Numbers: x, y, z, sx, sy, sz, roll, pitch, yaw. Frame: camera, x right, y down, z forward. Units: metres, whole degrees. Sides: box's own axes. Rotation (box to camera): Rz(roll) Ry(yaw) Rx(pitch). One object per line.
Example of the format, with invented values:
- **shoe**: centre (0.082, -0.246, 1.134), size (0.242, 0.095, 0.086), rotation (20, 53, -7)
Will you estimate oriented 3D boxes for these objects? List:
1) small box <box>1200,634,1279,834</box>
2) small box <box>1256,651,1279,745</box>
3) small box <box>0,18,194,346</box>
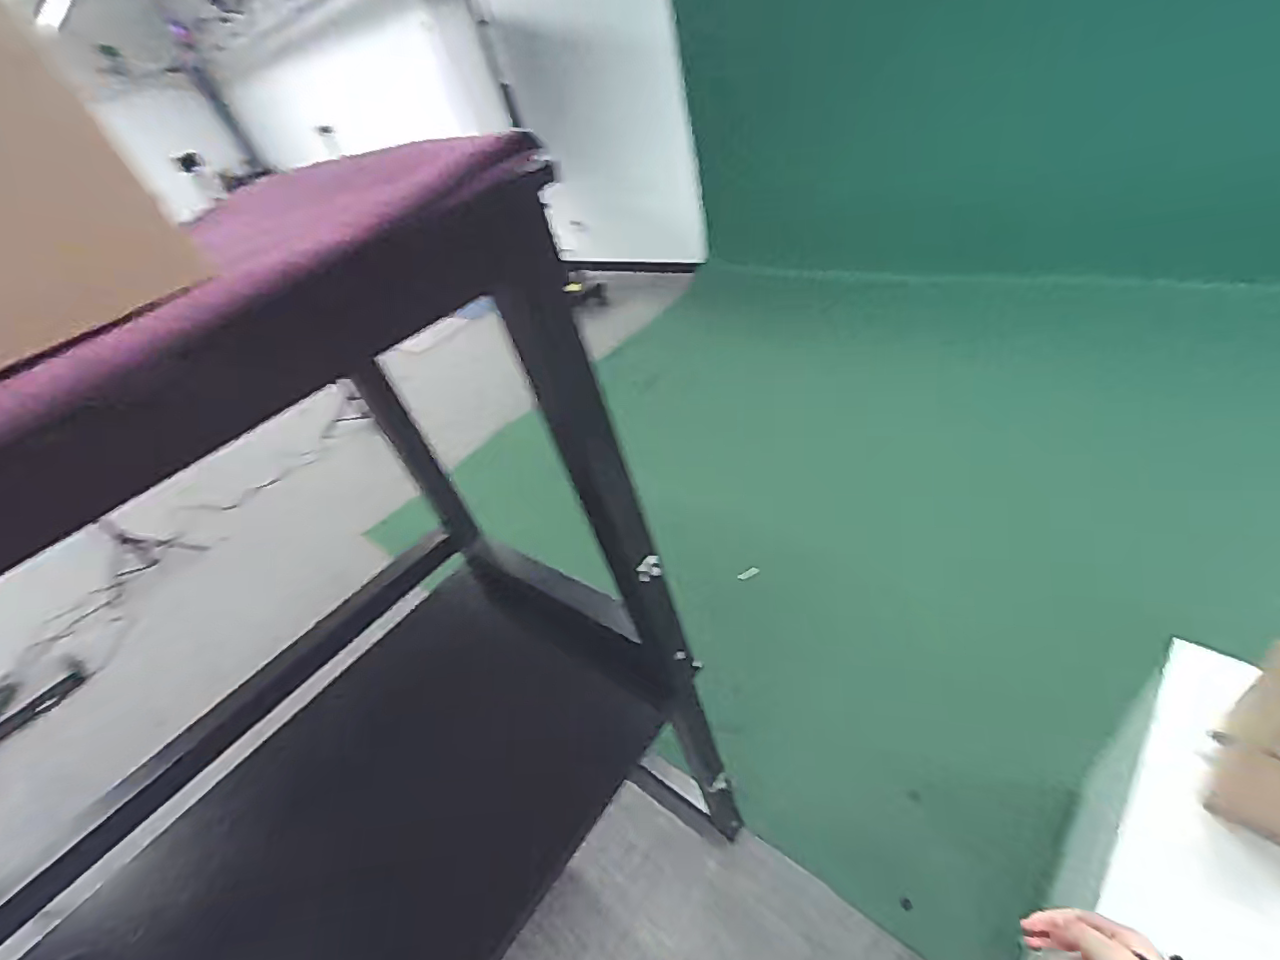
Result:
- **small box**: centre (0.814, 0.328, 0.637), size (0.168, 0.176, 0.179), rotation (25, 55, 39)
- **small box**: centre (0.776, 0.210, 0.531), size (0.168, 0.176, 0.179), rotation (-39, 44, -25)
- **small box**: centre (-0.409, -0.161, 0.297), size (0.168, 0.176, 0.179), rotation (16, 50, 38)
